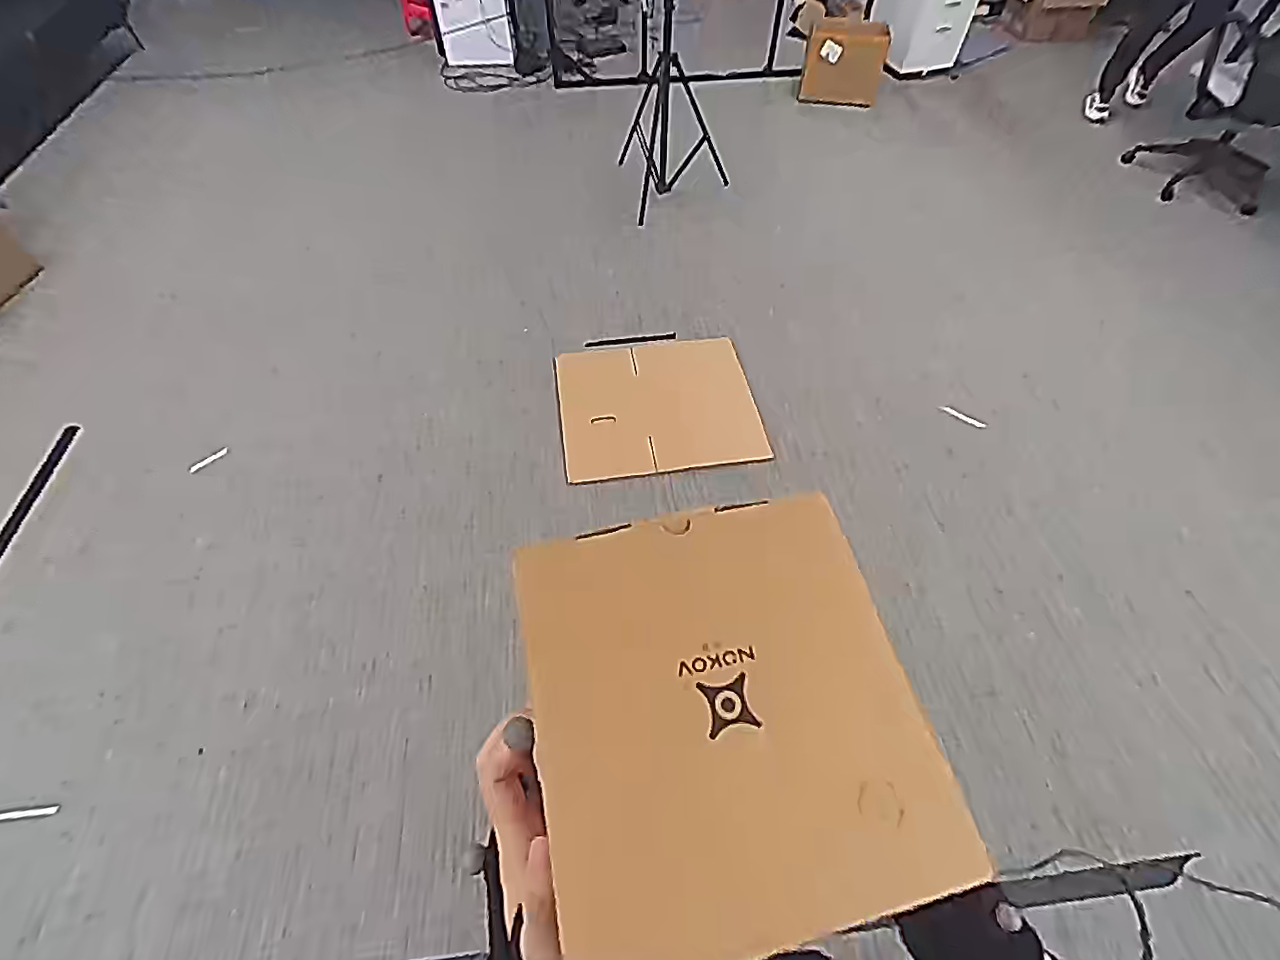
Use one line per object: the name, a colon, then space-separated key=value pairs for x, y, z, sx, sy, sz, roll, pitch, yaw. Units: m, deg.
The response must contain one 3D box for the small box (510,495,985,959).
small box: x=0.032 y=0.134 z=0.301 sx=0.168 sy=0.176 sz=0.179 roll=-10 pitch=60 yaw=-9
